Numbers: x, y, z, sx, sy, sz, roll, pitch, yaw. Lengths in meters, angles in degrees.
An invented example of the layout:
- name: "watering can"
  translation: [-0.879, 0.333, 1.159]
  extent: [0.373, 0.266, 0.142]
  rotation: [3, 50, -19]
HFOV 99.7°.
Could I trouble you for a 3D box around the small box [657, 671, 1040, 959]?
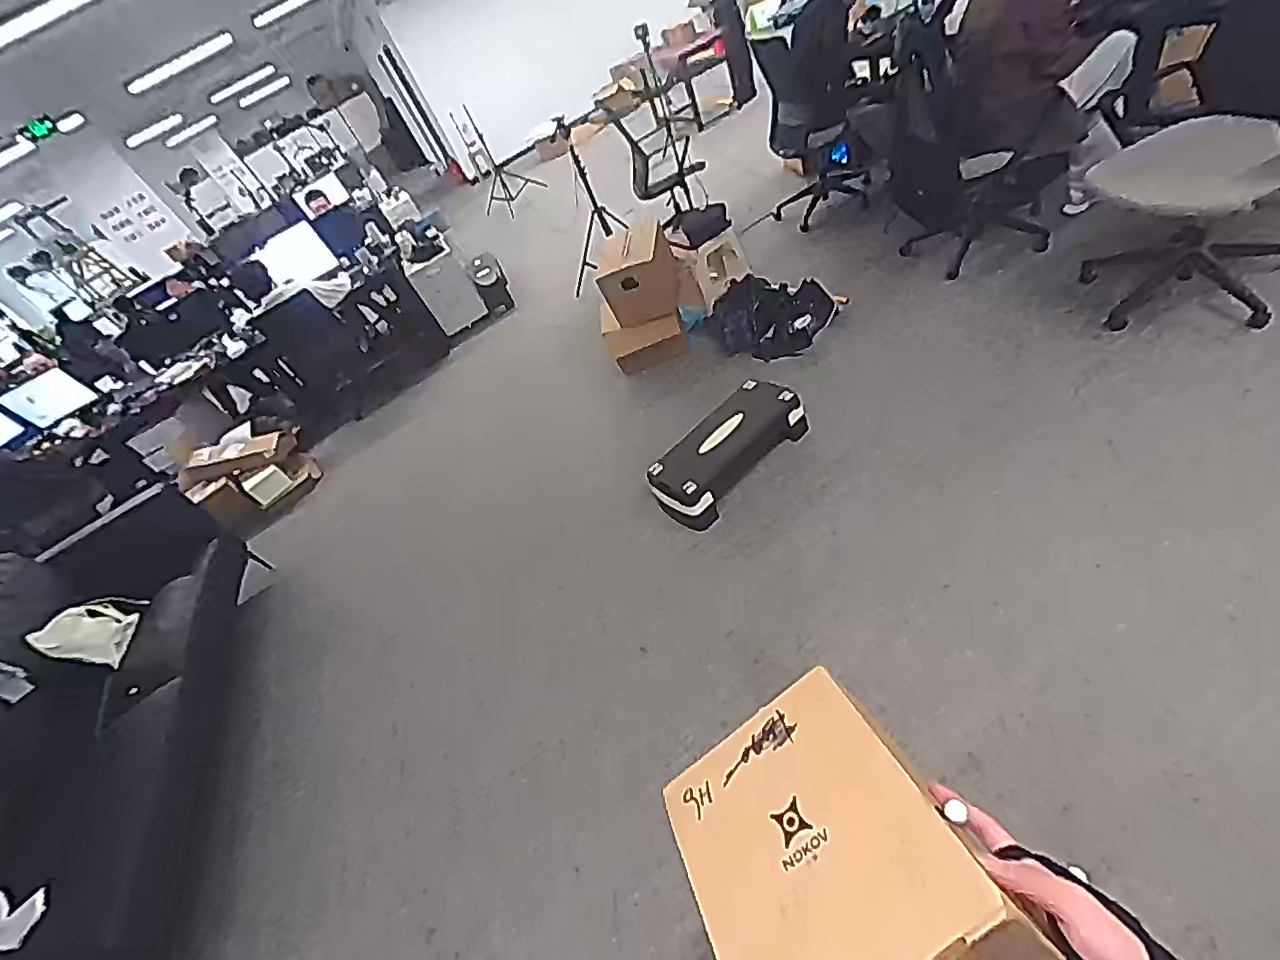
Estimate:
- name: "small box"
  translation: [0.146, 0.286, 0.398]
  extent: [0.168, 0.176, 0.179]
  rotation: [-40, 32, 4]
